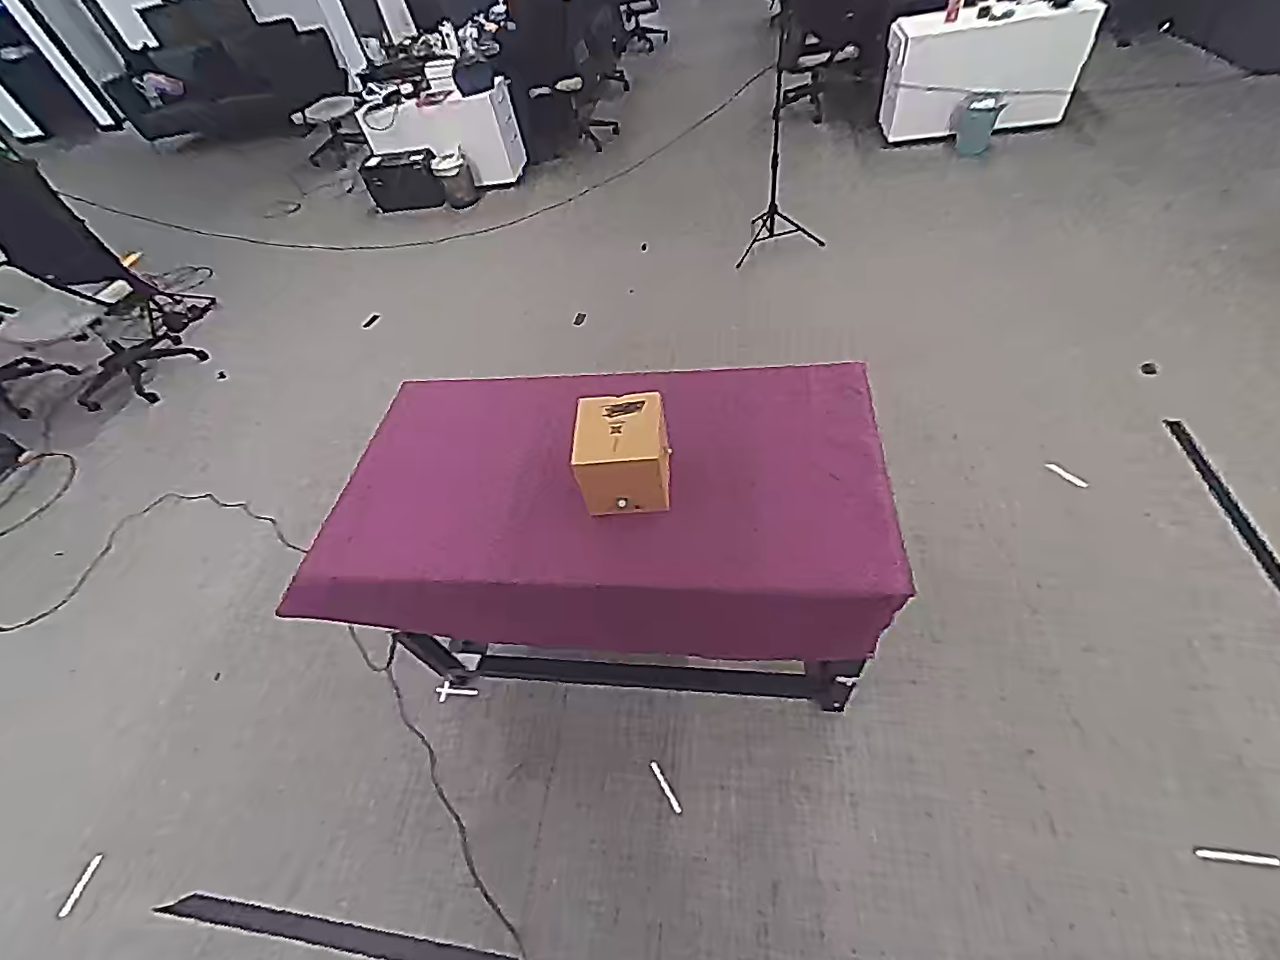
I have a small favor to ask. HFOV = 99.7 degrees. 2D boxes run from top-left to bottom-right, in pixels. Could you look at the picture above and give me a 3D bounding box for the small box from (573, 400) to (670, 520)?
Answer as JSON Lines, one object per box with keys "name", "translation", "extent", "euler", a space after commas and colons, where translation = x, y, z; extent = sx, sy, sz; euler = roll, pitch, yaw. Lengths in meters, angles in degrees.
{"name": "small box", "translation": [-0.030, -0.039, 1.102], "extent": [0.168, 0.176, 0.179], "euler": [-5, 51, 8]}
